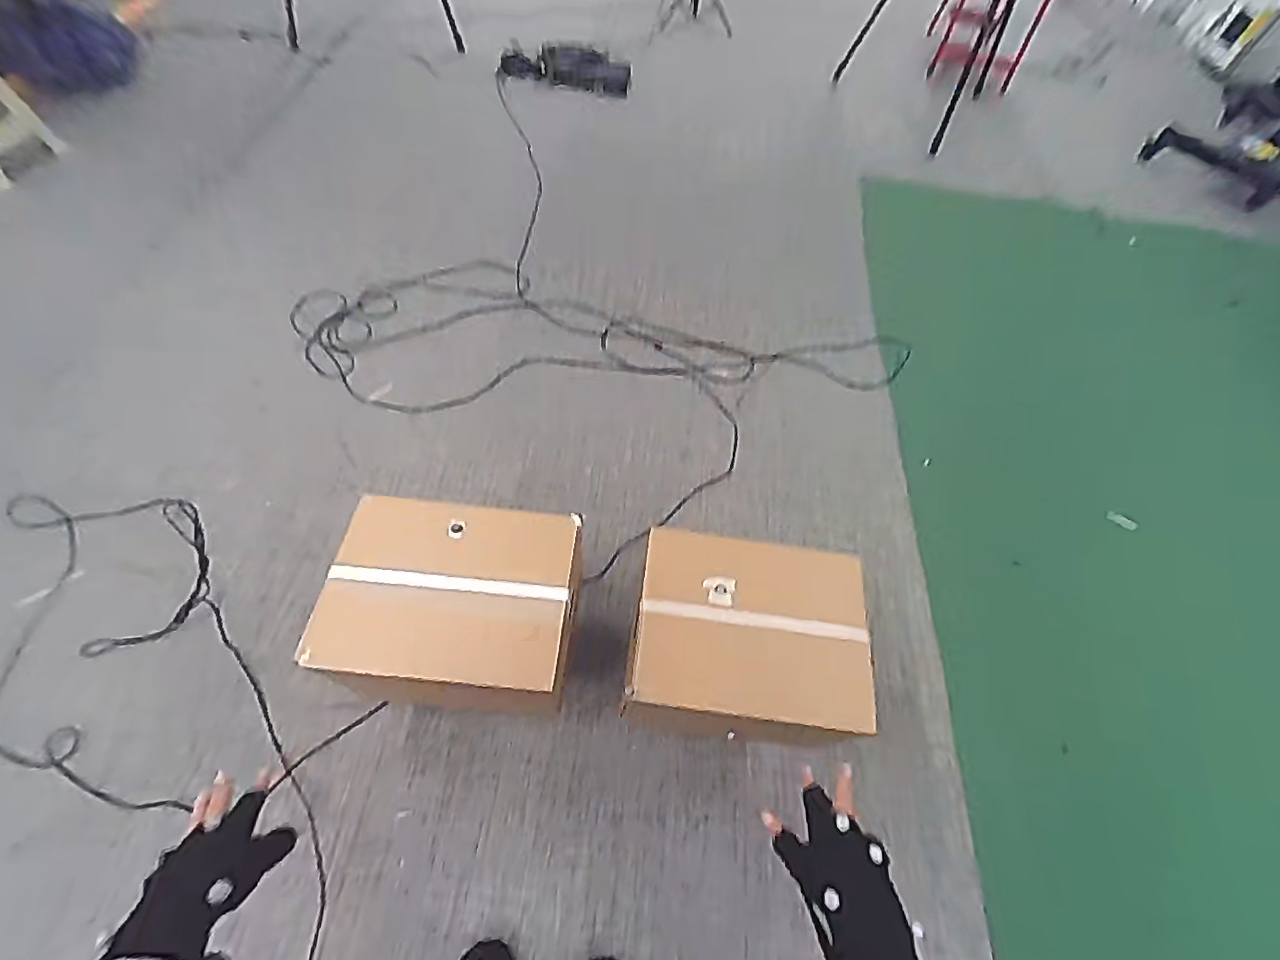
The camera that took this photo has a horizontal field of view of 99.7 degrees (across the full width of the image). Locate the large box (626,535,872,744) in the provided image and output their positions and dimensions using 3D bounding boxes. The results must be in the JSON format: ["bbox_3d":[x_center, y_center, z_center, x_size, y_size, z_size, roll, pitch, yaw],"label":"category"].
[{"bbox_3d":[0.195,0.334,1.092,0.408,0.320,0.320,8,59,0],"label":"large box"}]
